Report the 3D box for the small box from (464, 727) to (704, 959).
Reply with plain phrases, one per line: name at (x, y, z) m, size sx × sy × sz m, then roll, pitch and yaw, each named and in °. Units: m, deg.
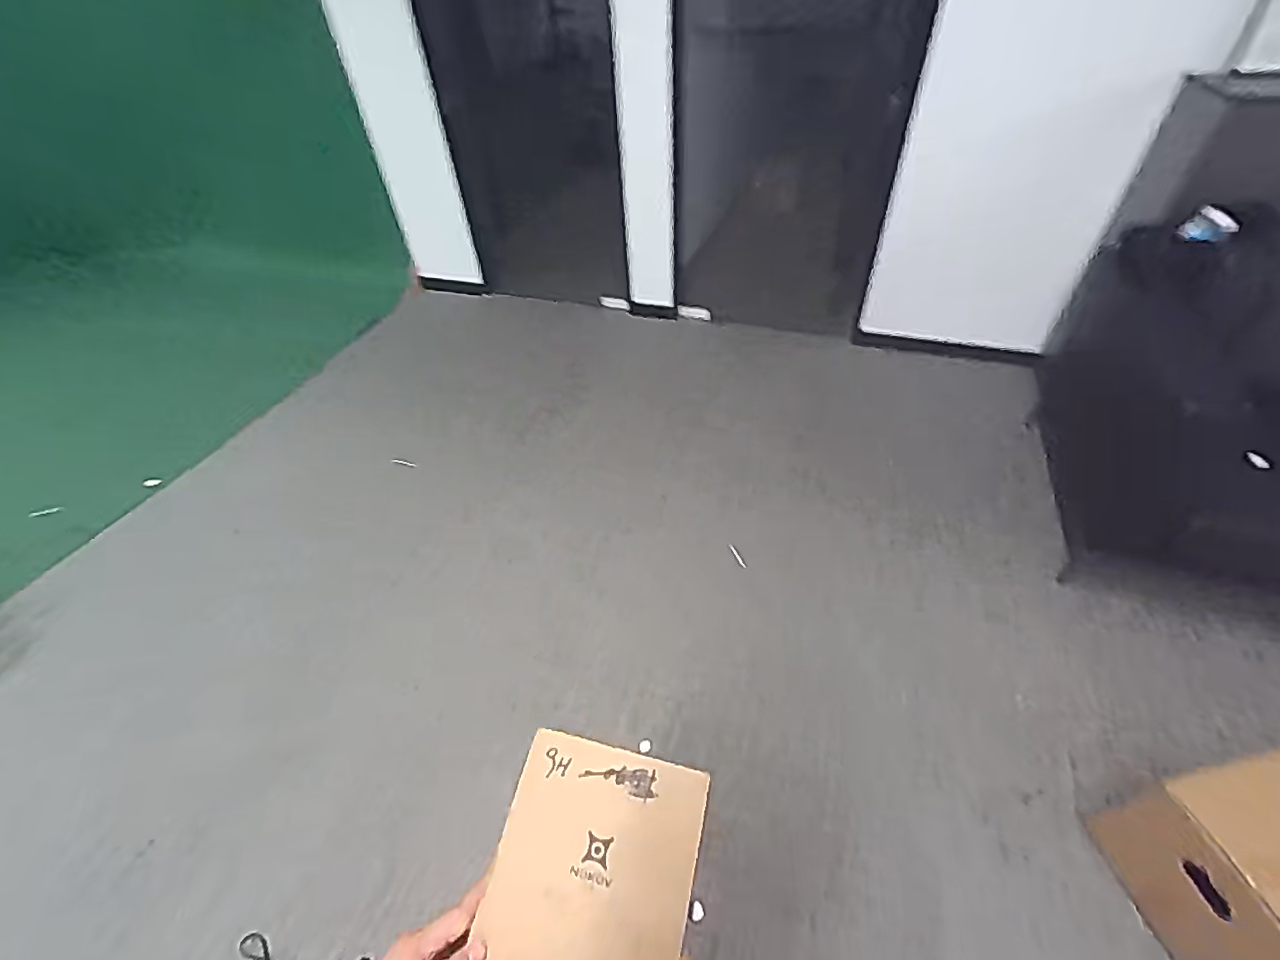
small box at (-0.033, 0.362, 0.520) m, size 0.168 × 0.176 × 0.179 m, roll 10°, pitch 58°, yaw 13°
